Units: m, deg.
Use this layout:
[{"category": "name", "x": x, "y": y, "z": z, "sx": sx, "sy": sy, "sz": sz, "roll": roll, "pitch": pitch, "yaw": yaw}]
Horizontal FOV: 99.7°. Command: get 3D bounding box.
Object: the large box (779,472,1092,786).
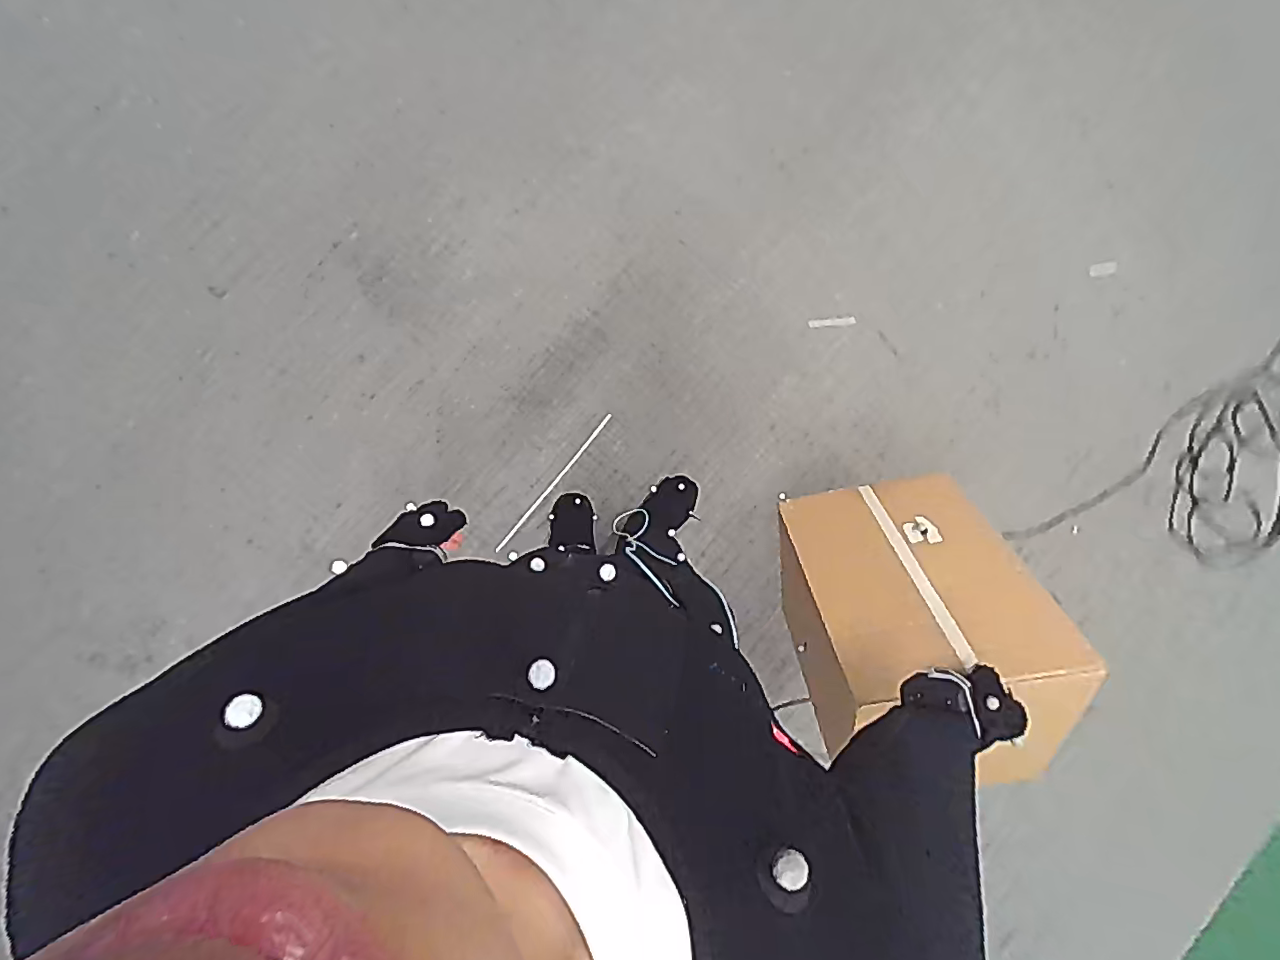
[{"category": "large box", "x": 0.449, "y": 0.246, "z": 0.943, "sx": 0.320, "sy": 0.408, "sz": 0.320, "roll": -9, "pitch": 128, "yaw": 4}]
